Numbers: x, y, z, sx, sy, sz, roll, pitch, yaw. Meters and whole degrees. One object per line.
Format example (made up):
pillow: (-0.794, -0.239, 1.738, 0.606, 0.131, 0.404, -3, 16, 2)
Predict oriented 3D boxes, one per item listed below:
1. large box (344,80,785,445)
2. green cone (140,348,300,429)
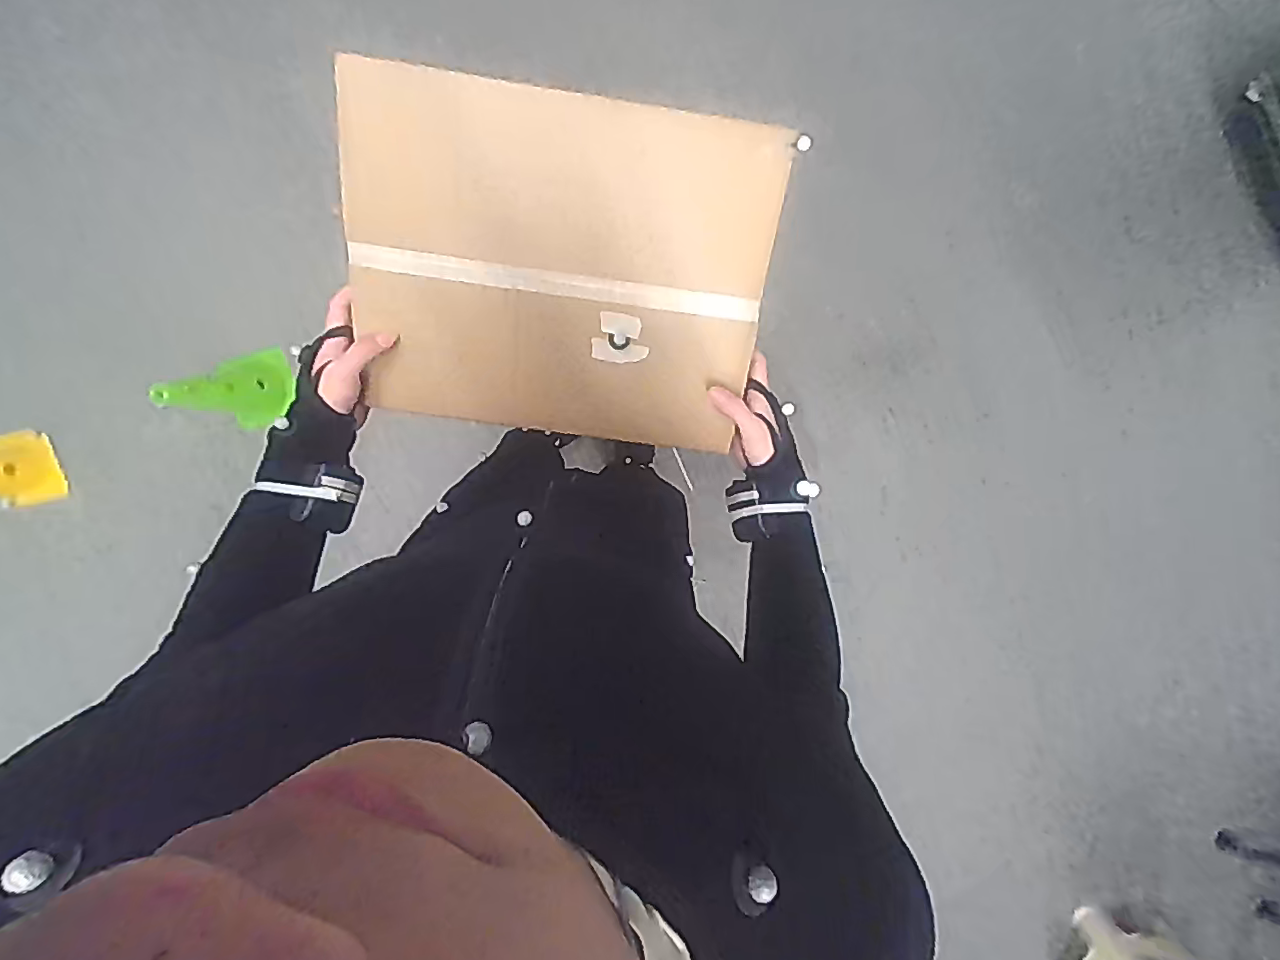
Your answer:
large box: (-0.083, -0.252, 0.678, 0.408, 0.320, 0.320, 5, 114, -4)
green cone: (-1.100, -0.229, 1.387, 0.202, 0.368, 0.200, -16, 101, 3)
